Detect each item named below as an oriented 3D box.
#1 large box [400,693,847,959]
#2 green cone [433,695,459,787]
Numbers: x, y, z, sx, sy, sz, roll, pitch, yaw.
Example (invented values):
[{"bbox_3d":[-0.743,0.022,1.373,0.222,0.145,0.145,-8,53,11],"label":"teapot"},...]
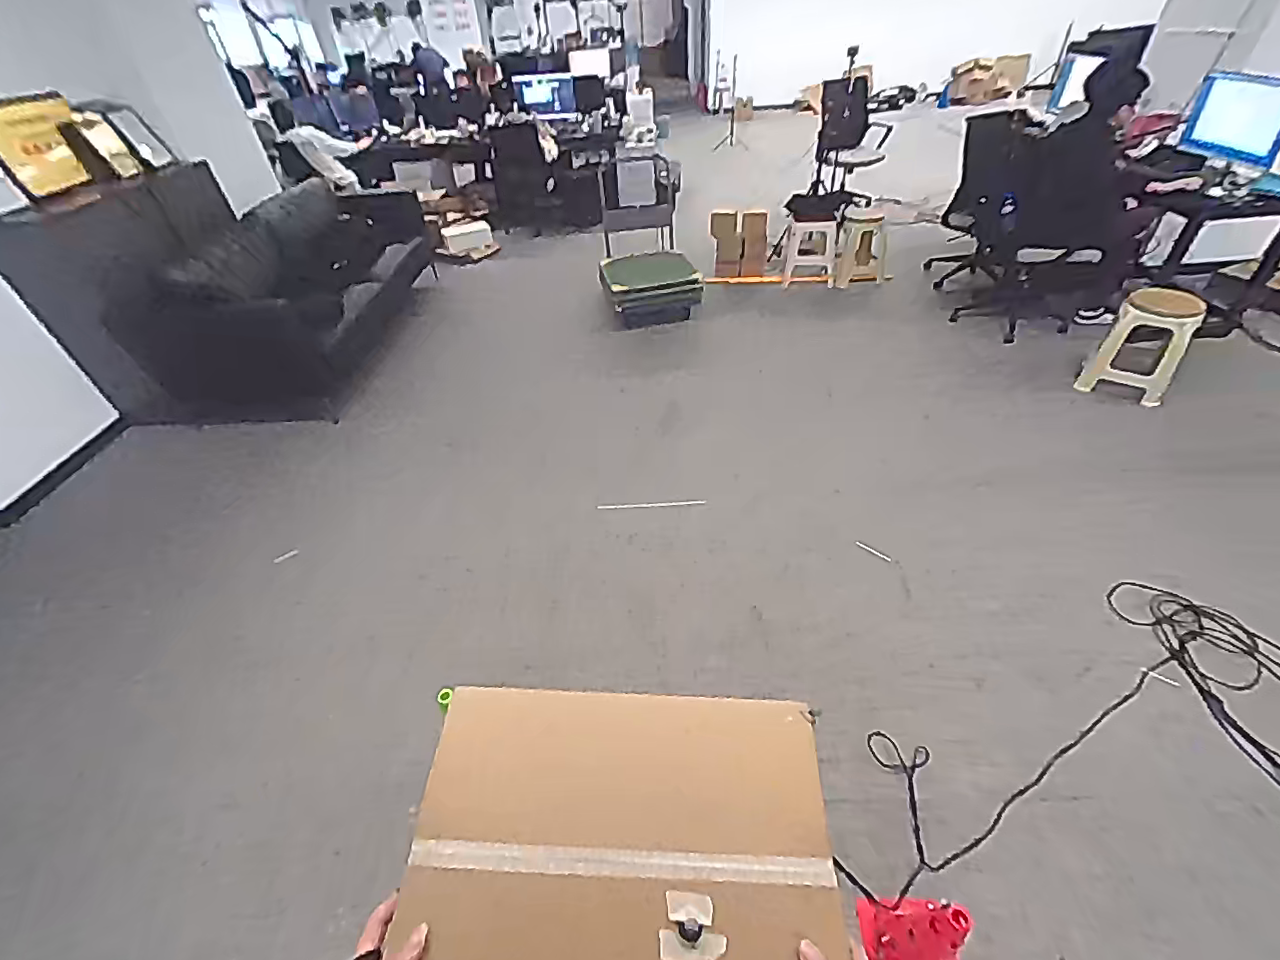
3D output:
[{"bbox_3d":[-0.014,0.463,0.637,0.408,0.320,0.320,1,51,1],"label":"large box"},{"bbox_3d":[-0.496,0.692,1.496,0.200,0.368,0.202,1,43,7],"label":"green cone"}]
